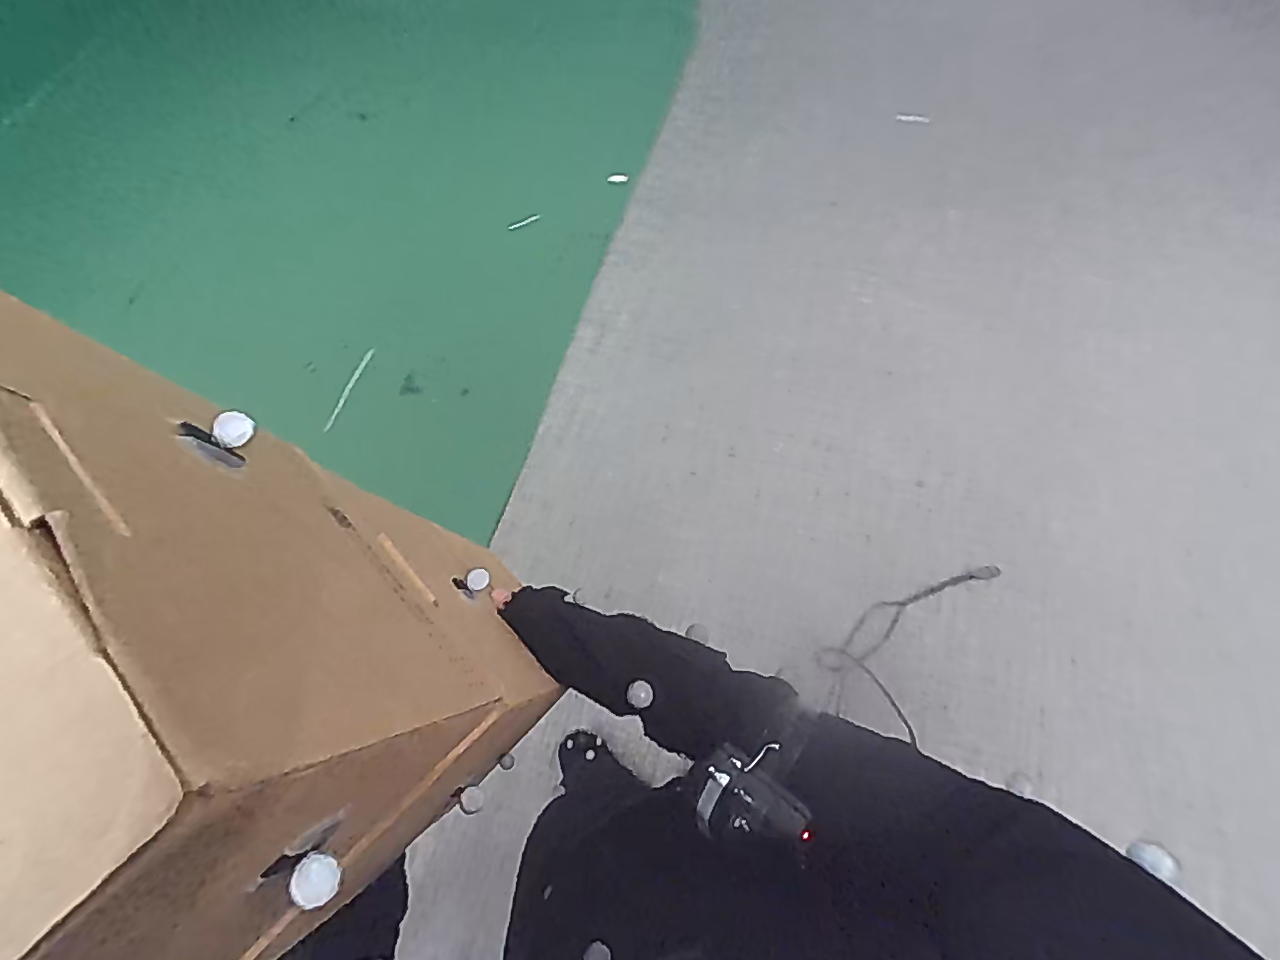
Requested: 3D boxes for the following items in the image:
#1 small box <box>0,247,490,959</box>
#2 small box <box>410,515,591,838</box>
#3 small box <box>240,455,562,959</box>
[{"bbox_3d":[-0.172,0.069,0.175,0.179,0.176,0.168,-43,75,-9],"label":"small box"},{"bbox_3d":[-0.159,0.162,0.487,0.168,0.176,0.179,40,78,13],"label":"small box"},{"bbox_3d":[-0.164,0.120,0.330,0.179,0.176,0.168,-42,76,-10],"label":"small box"}]
